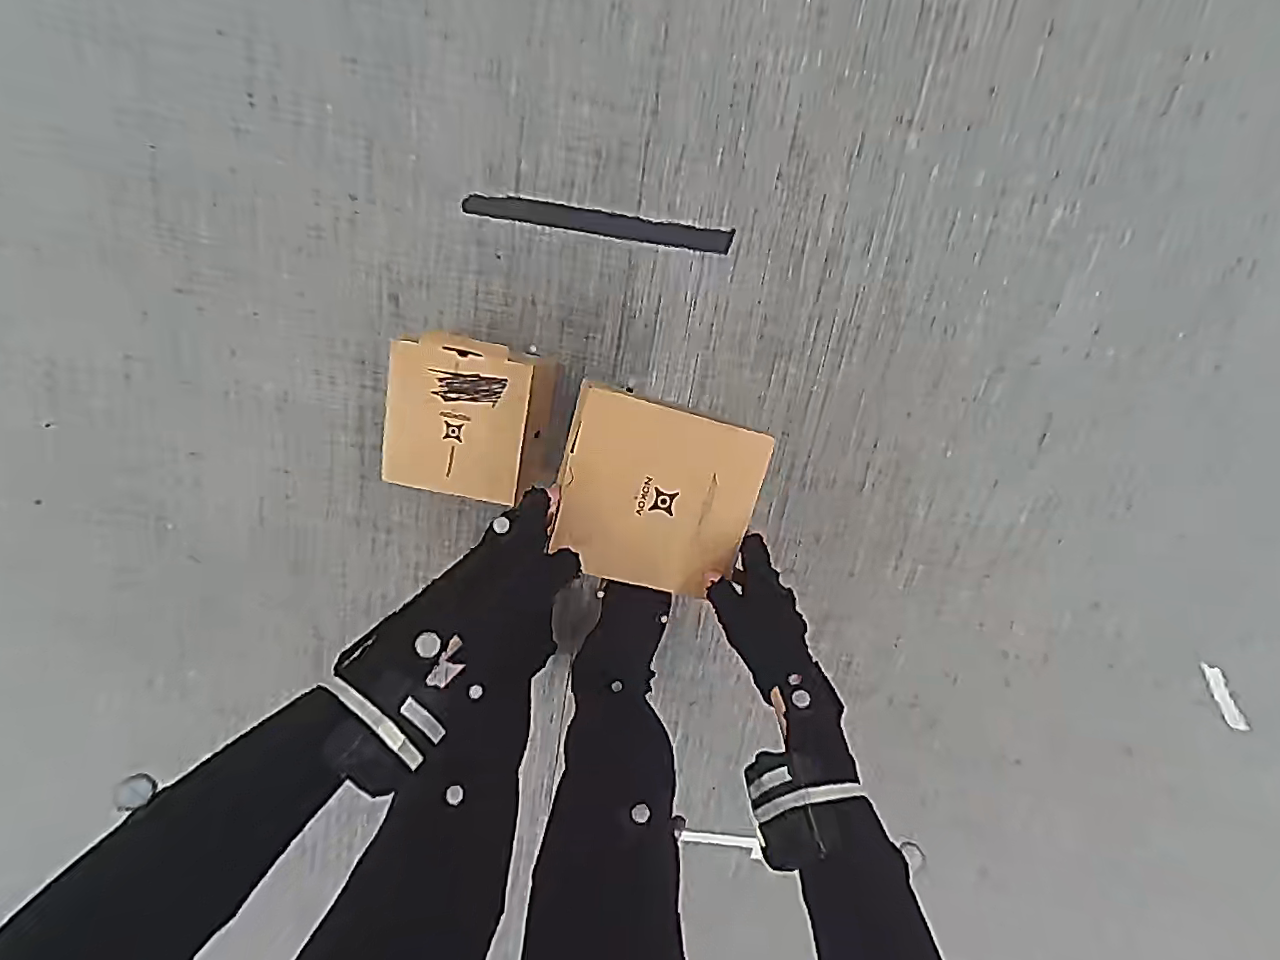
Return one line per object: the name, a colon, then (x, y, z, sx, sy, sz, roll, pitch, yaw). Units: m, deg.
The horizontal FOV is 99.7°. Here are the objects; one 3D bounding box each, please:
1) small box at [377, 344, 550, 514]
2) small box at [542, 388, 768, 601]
small box: (-0.220, -0.076, 0.711, 0.168, 0.176, 0.179, 11, 105, -2)
small box: (0.005, 0.003, 0.568, 0.179, 0.176, 0.168, 13, 102, -10)
